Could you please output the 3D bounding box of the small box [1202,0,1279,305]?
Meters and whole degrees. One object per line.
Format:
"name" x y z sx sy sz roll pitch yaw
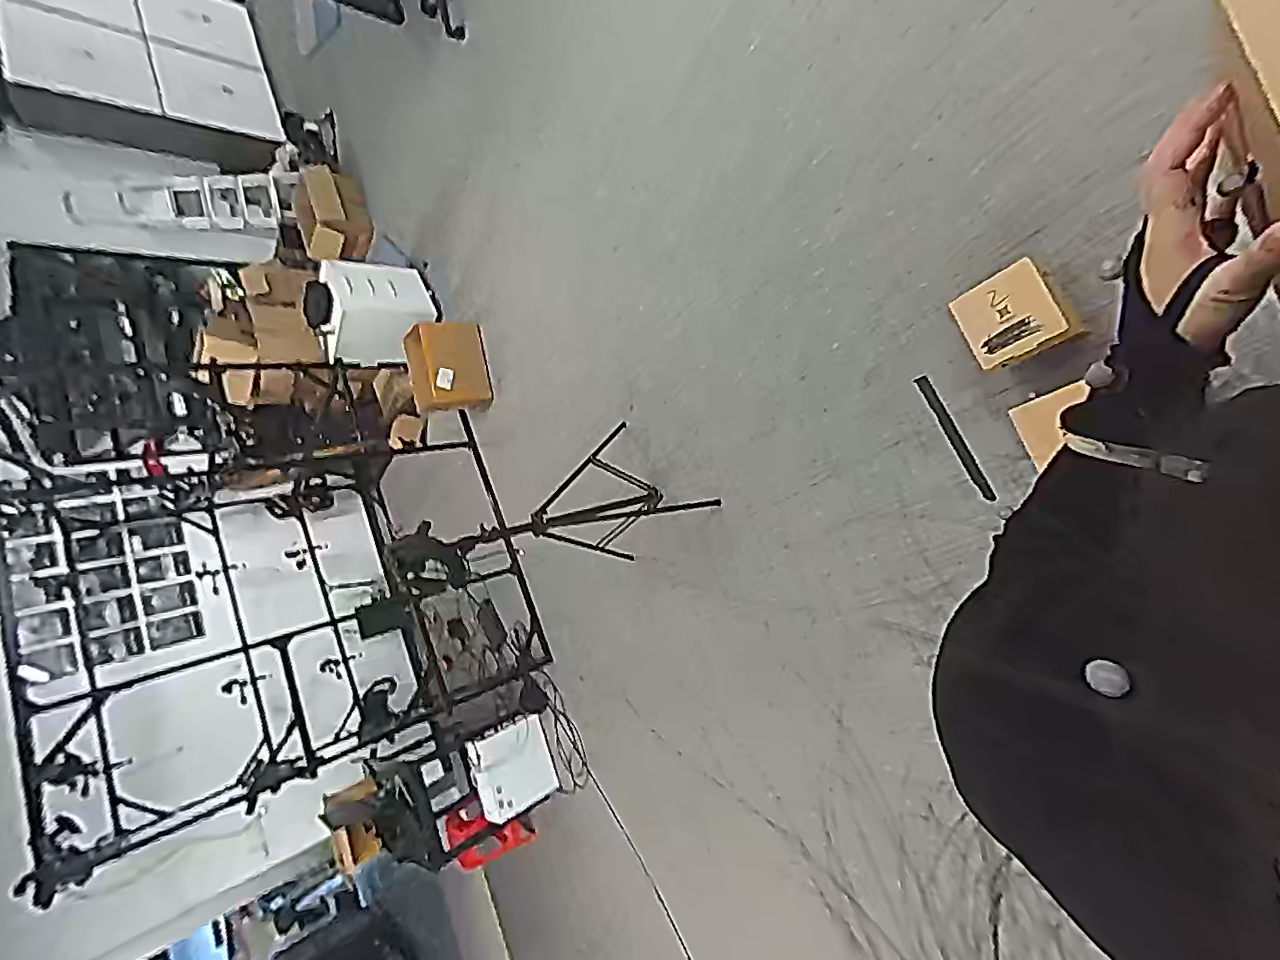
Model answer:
"small box" 0.399 -0.181 0.244 0.168 0.176 0.179 -19 72 45

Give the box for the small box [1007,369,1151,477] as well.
"small box" 0.921 -0.120 1.135 0.179 0.176 0.168 -31 77 47
